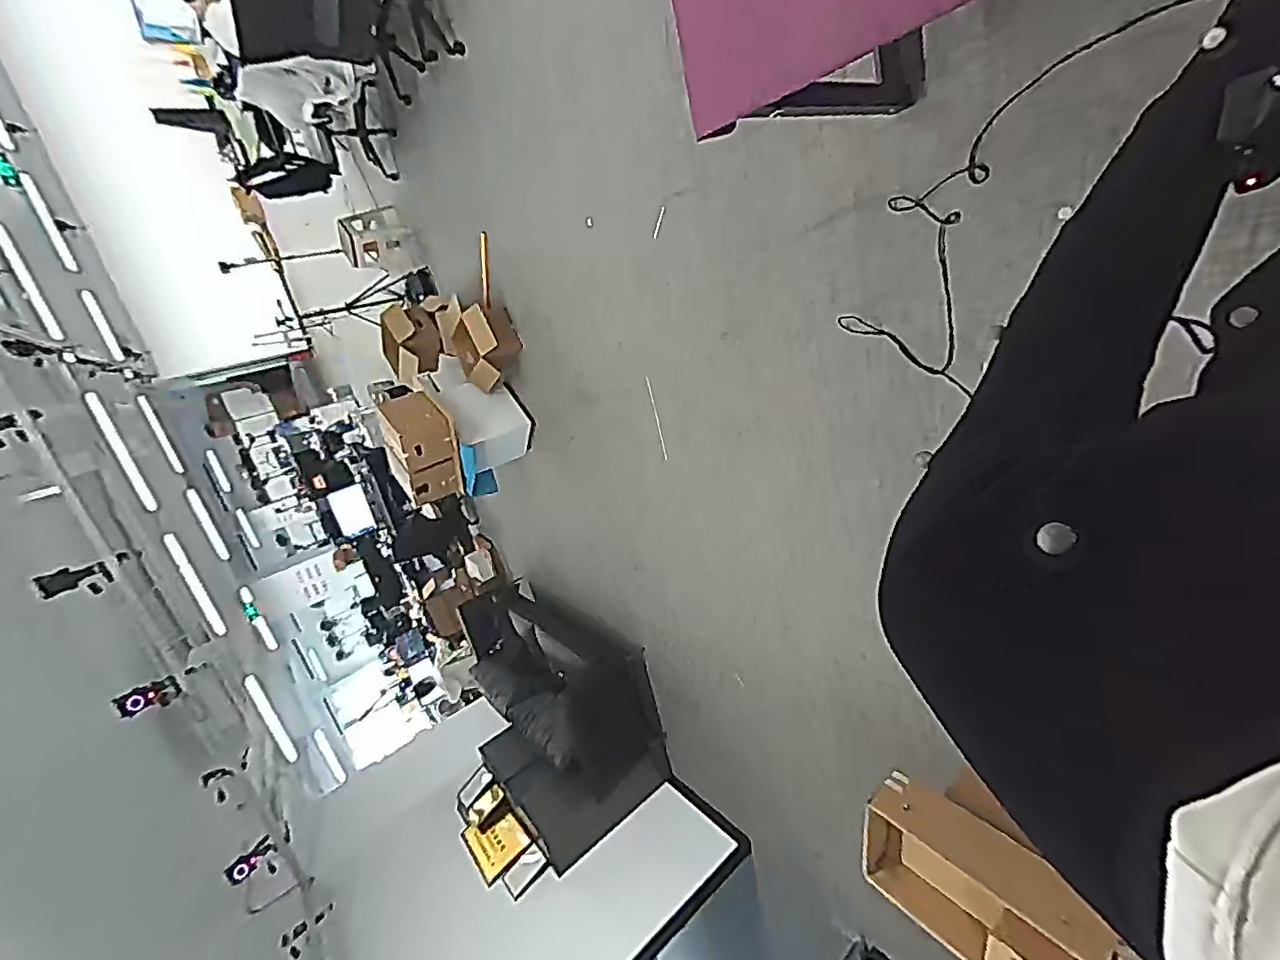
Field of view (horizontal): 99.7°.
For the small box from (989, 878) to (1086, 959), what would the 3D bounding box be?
[{"bbox_3d":[1.102,1.266,1.500,0.168,0.176,0.179,21,130,50],"label":"small box"}]
